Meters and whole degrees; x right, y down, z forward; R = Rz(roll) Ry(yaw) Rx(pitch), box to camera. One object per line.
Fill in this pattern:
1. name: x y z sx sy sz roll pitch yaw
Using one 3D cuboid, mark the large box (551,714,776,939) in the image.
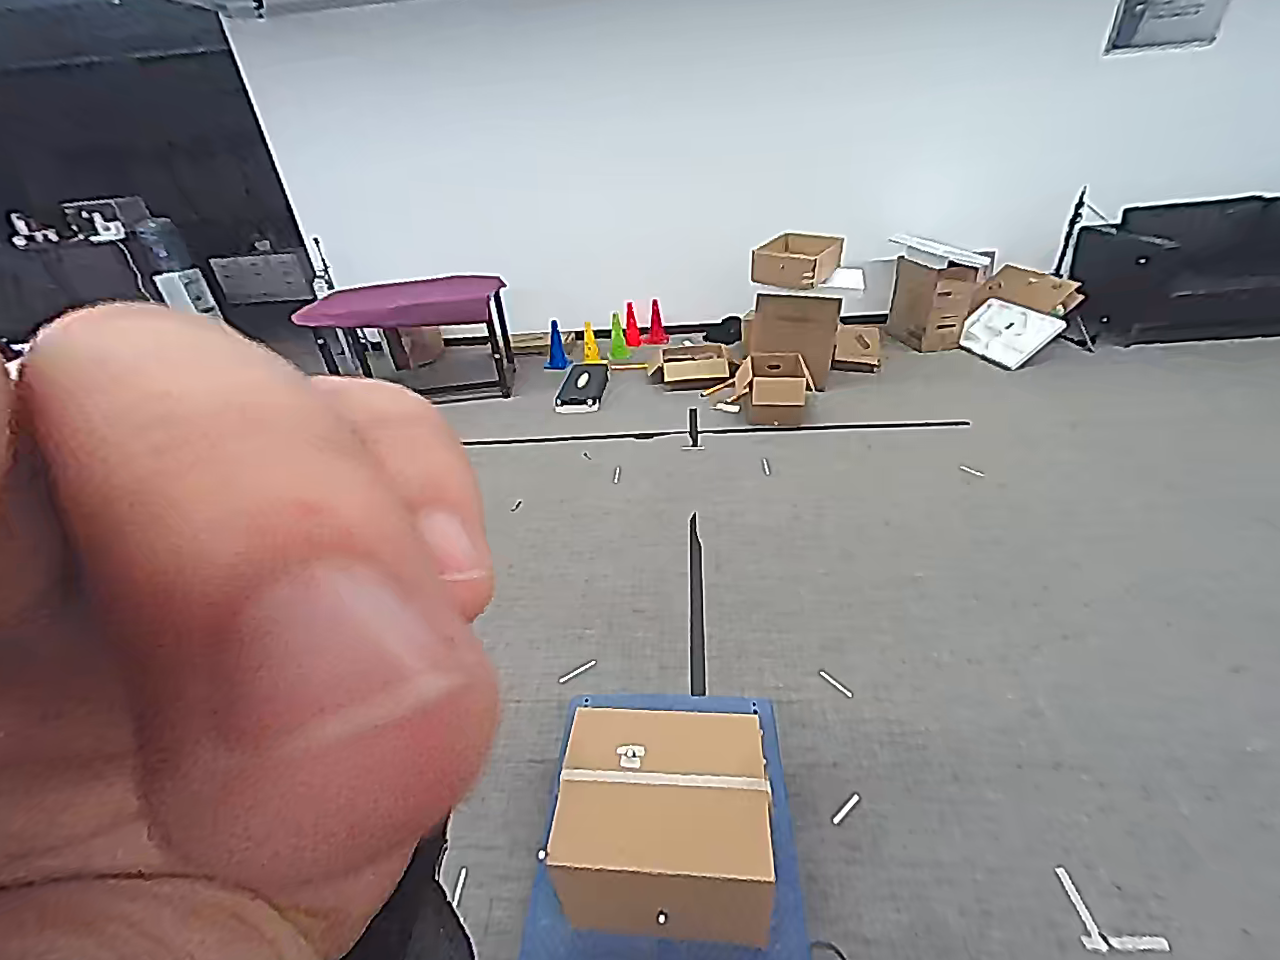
1. large box: 0.061 0.729 1.152 0.408 0.320 0.320 -2 32 7
